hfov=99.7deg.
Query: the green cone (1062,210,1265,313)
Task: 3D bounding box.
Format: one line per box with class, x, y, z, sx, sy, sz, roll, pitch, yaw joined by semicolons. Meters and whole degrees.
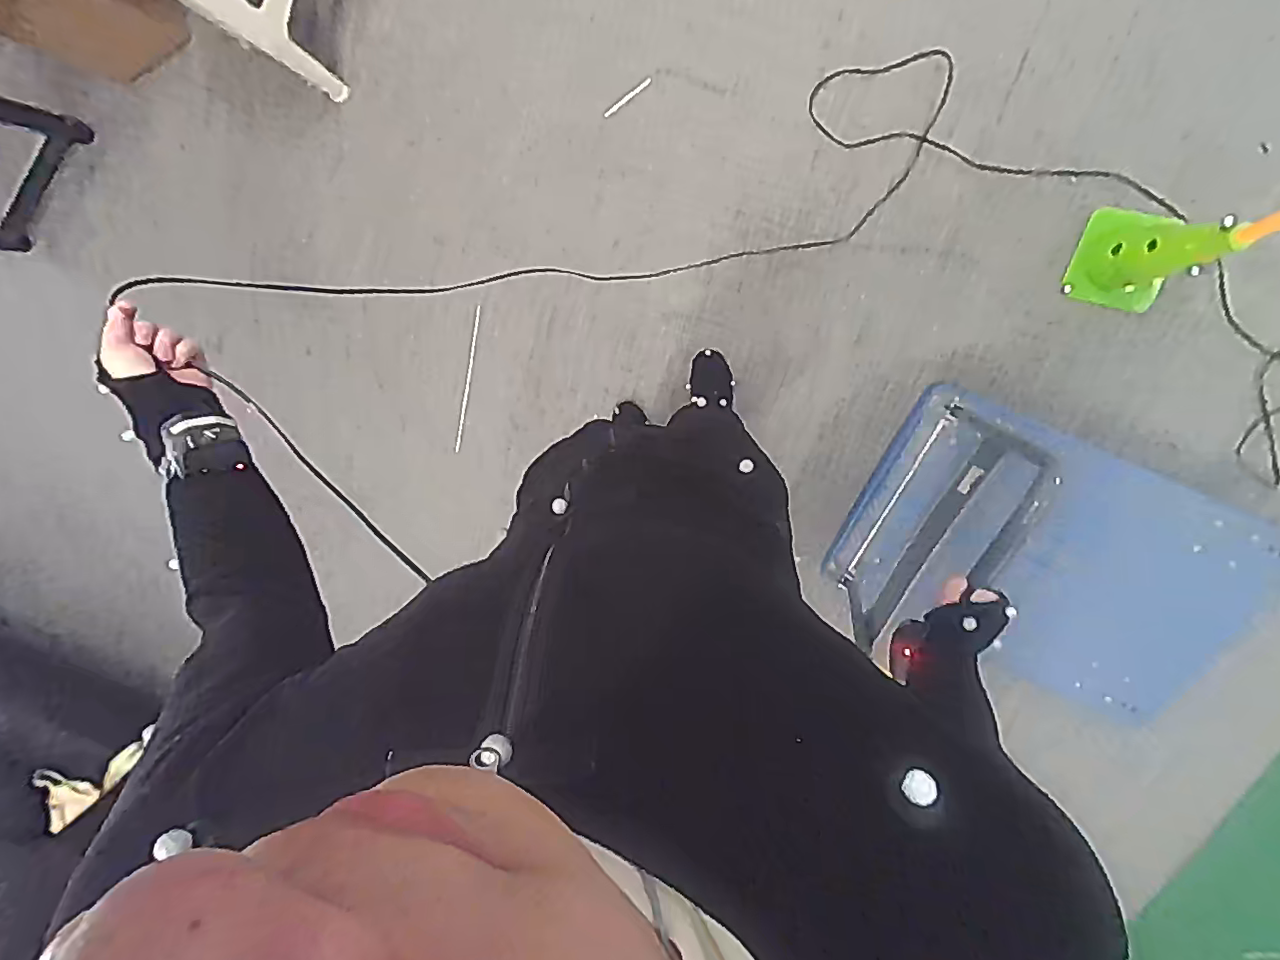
green cone;1.071;-0.459;1.079;0.200;0.368;0.202;15;107;9
